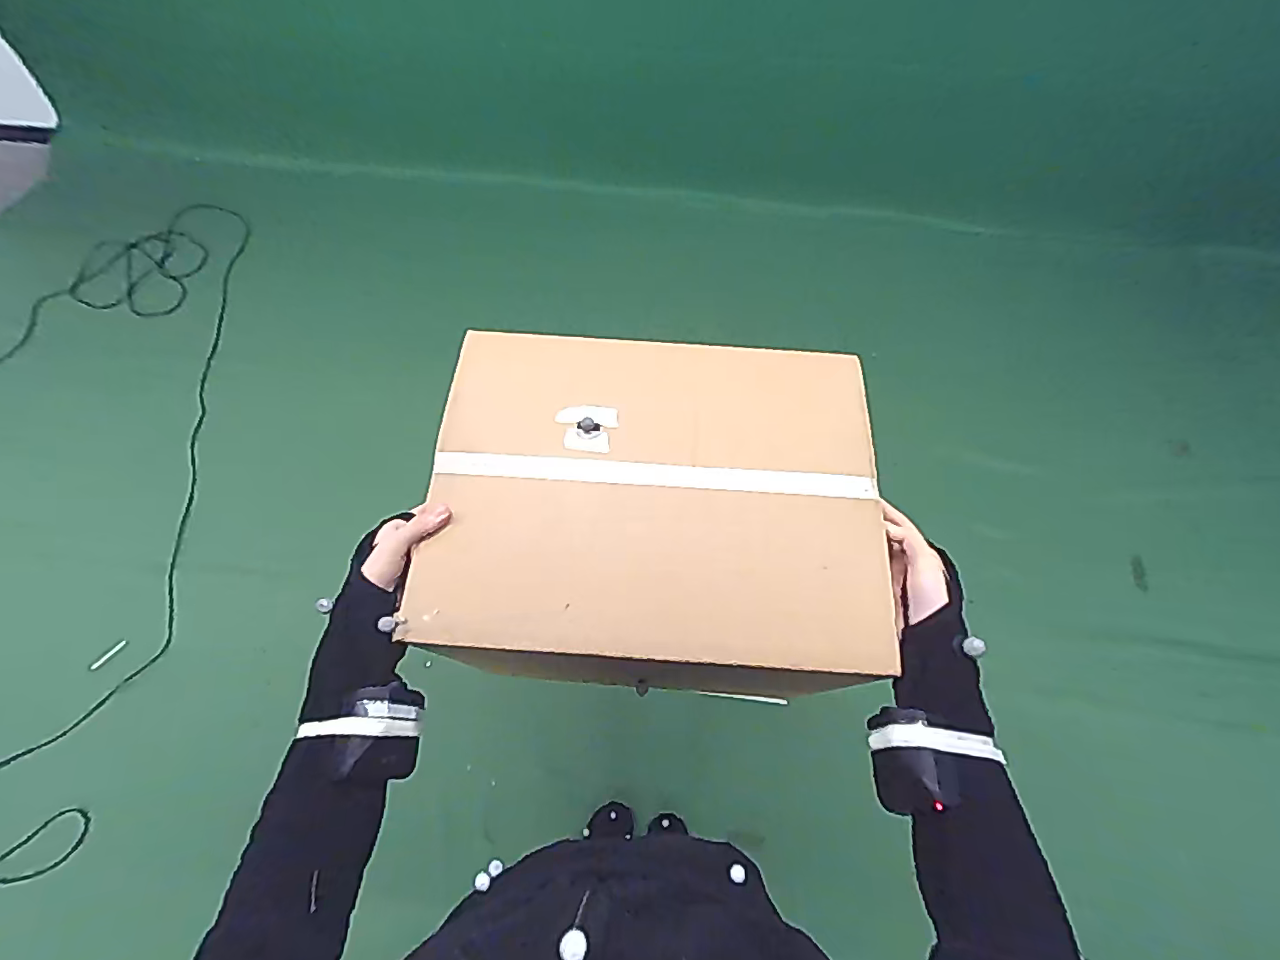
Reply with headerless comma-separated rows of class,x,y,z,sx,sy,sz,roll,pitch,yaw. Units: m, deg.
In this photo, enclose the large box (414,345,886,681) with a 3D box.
large box,0.016,0.063,0.645,0.408,0.320,0.320,3,65,2
